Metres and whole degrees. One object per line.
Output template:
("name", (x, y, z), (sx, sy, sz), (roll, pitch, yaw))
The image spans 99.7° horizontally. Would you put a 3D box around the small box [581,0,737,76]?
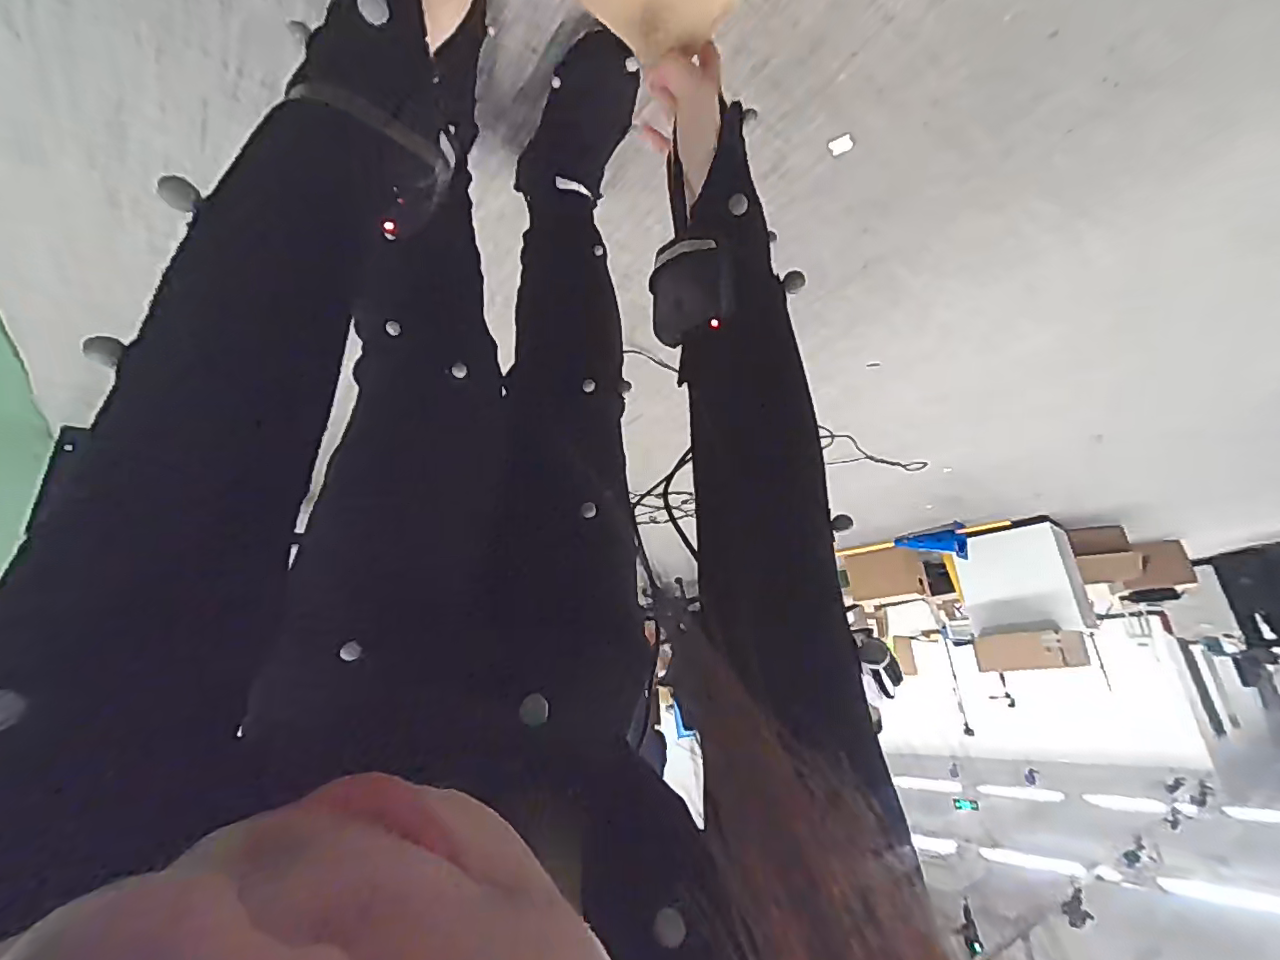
("small box", (0.012, -0.418, 0.325), (0.168, 0.176, 0.179), (15, 153, -36))
